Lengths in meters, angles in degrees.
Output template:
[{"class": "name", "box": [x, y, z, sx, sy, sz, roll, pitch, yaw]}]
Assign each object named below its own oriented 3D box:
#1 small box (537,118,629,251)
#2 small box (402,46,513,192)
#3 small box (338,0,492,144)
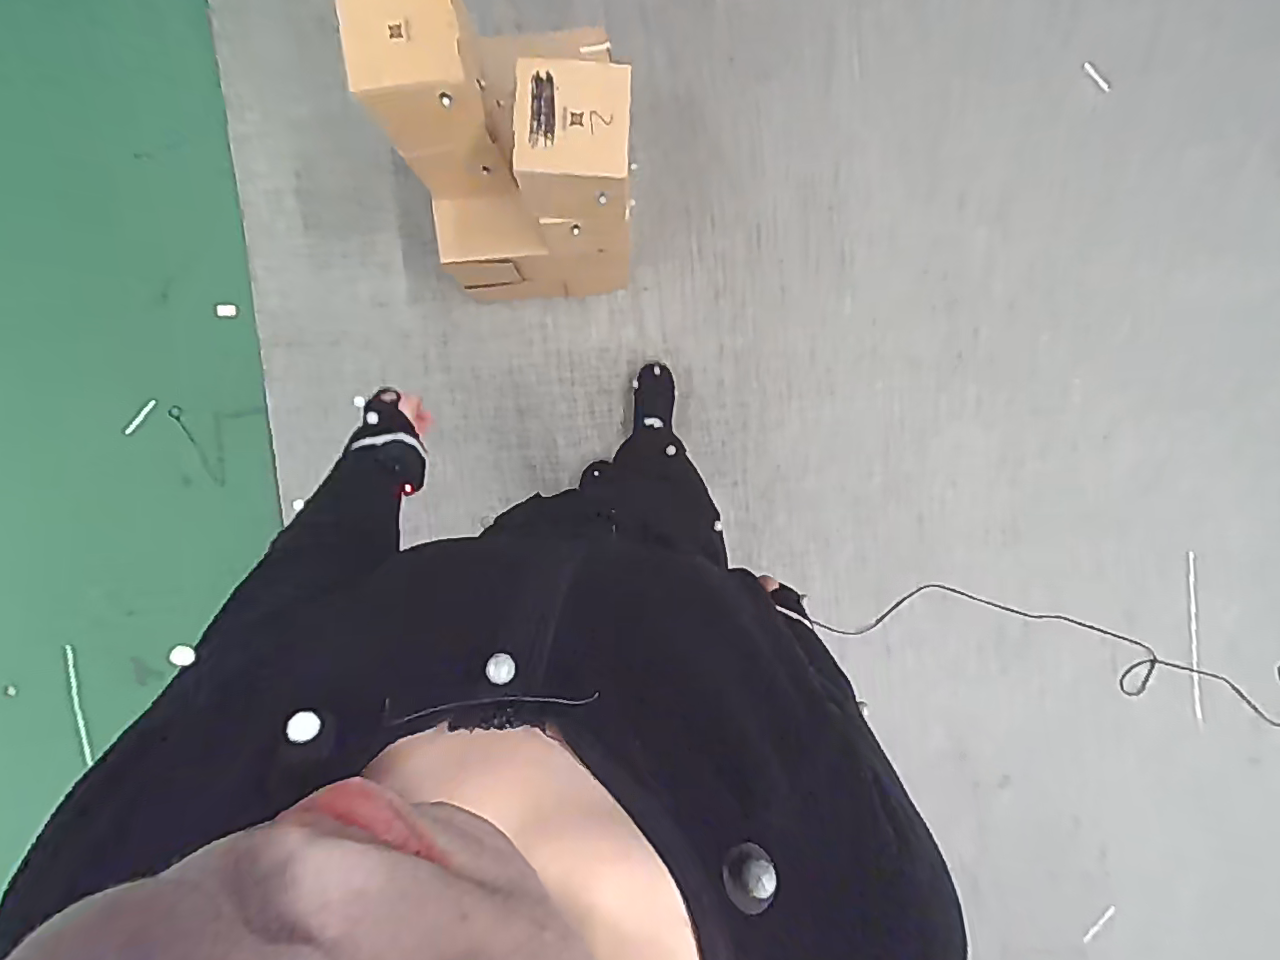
[{"class": "small box", "box": [-0.106, -0.568, 1.055, 0.168, 0.176, 0.179, -2, 93, -1]}, {"class": "small box", "box": [-0.352, -0.687, 1.047, 0.179, 0.176, 0.168, -8, 92, 1]}, {"class": "small box", "box": [-0.358, -0.681, 0.884, 0.179, 0.176, 0.168, -7, 92, -1]}]
